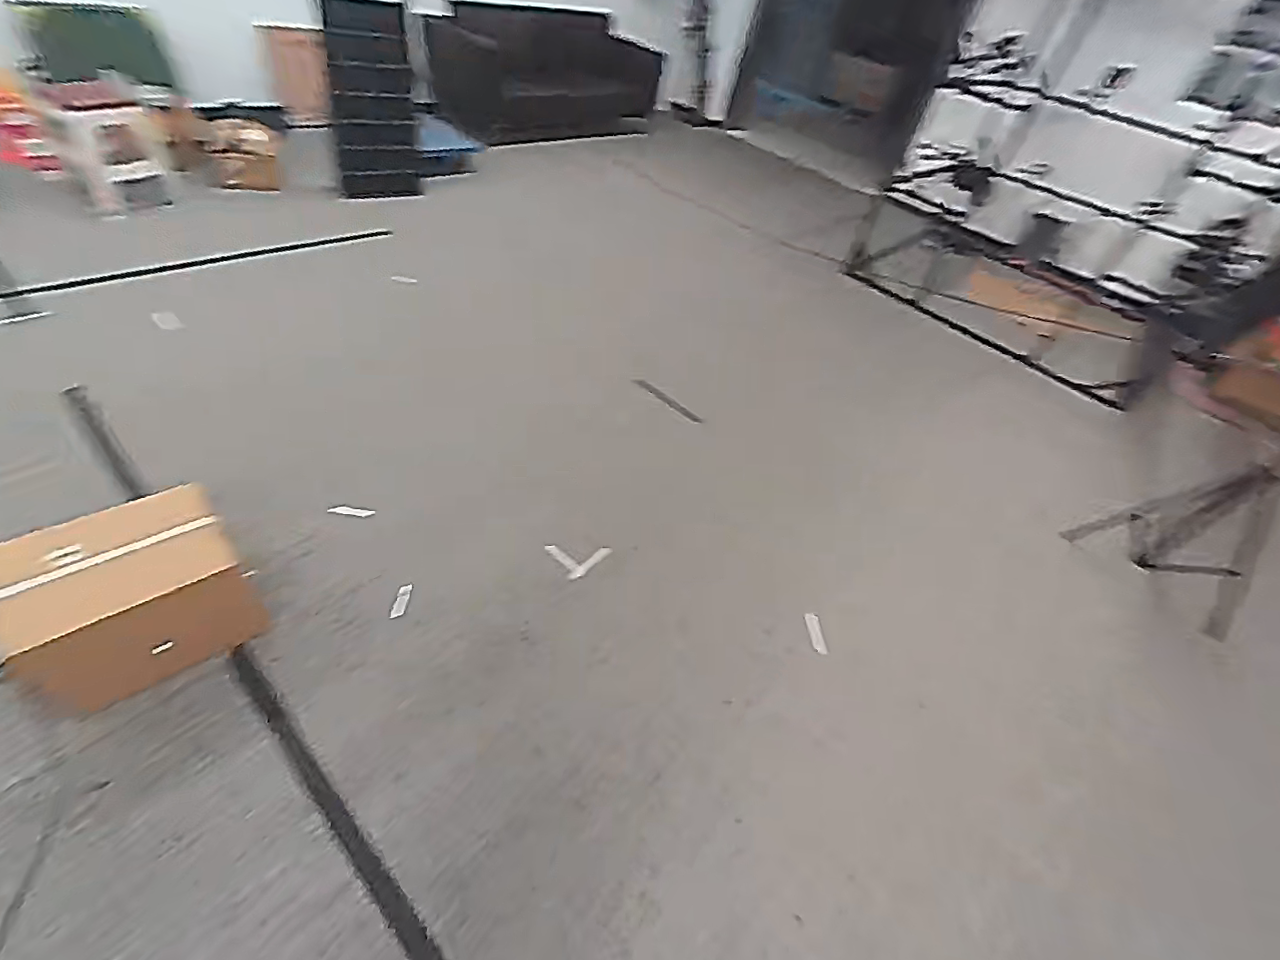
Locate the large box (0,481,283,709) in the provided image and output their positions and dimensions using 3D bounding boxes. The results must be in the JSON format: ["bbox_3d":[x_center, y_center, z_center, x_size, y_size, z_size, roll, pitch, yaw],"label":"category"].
[{"bbox_3d":[-1.195,0.273,1.336,0.408,0.320,0.320,-28,59,-35],"label":"large box"}]
